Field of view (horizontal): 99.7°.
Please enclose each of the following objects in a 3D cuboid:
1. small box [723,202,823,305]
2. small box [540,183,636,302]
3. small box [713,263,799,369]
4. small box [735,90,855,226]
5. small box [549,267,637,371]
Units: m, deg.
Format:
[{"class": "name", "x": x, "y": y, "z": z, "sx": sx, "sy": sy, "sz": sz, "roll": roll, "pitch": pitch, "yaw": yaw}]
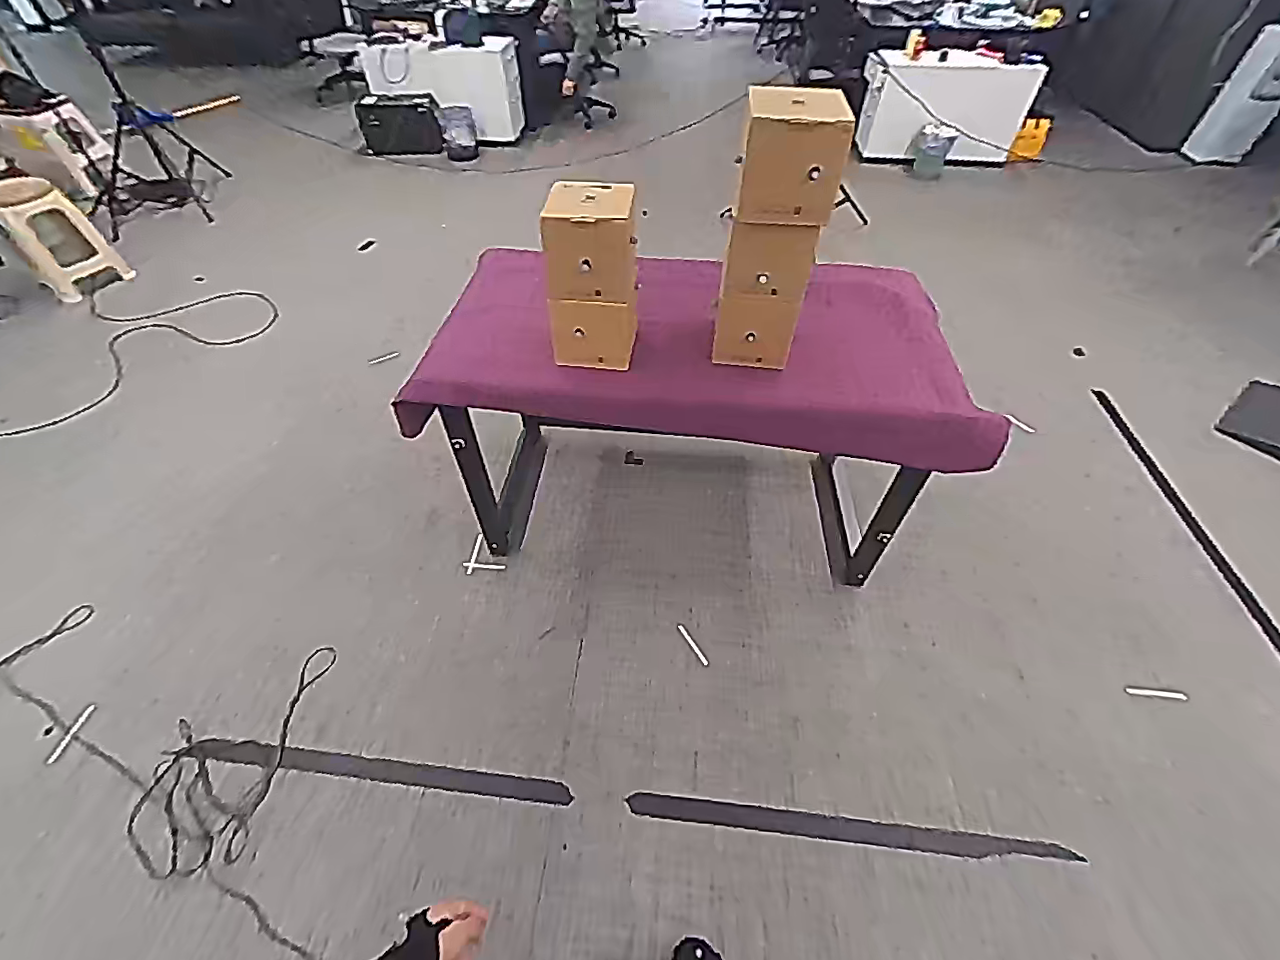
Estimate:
[{"class": "small box", "x": 0.264, "y": -0.483, "z": 1.104, "sx": 0.168, "sy": 0.176, "sz": 0.179, "roll": 6, "pitch": 50, "yaw": 5}, {"class": "small box", "x": -0.096, "y": -0.478, "z": 1.097, "sx": 0.168, "sy": 0.176, "sz": 0.179, "roll": 4, "pitch": 49, "yaw": 2}, {"class": "small box", "x": 0.259, "y": -0.373, "z": 1.225, "sx": 0.168, "sy": 0.176, "sz": 0.179, "roll": 7, "pitch": 49, "yaw": 5}, {"class": "small box", "x": 0.265, "y": -0.573, "z": 0.967, "sx": 0.168, "sy": 0.176, "sz": 0.179, "roll": 5, "pitch": 49, "yaw": 2}, {"class": "small box", "x": -0.096, "y": -0.364, "z": 1.215, "sx": 0.168, "sy": 0.176, "sz": 0.179, "roll": 5, "pitch": 48, "yaw": 4}]
